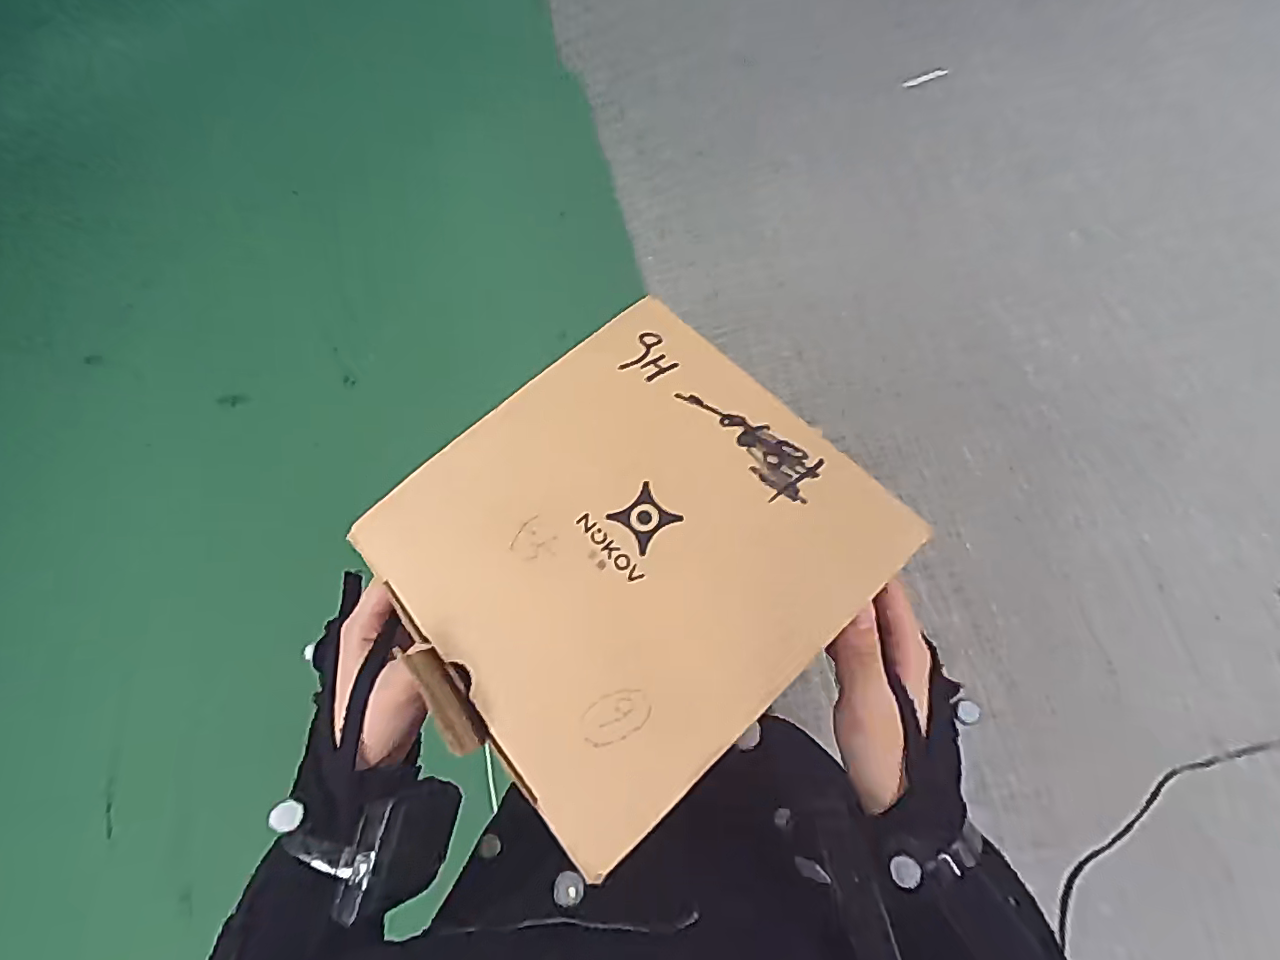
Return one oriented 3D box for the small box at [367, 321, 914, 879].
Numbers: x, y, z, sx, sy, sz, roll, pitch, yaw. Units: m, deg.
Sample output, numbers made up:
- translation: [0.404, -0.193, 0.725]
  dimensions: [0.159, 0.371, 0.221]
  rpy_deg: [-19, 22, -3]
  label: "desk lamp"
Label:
- translation: [0.002, 0.059, 0.299]
  dimensions: [0.179, 0.176, 0.168]
  rpy_deg: [-41, 71, -10]
  label: "small box"
